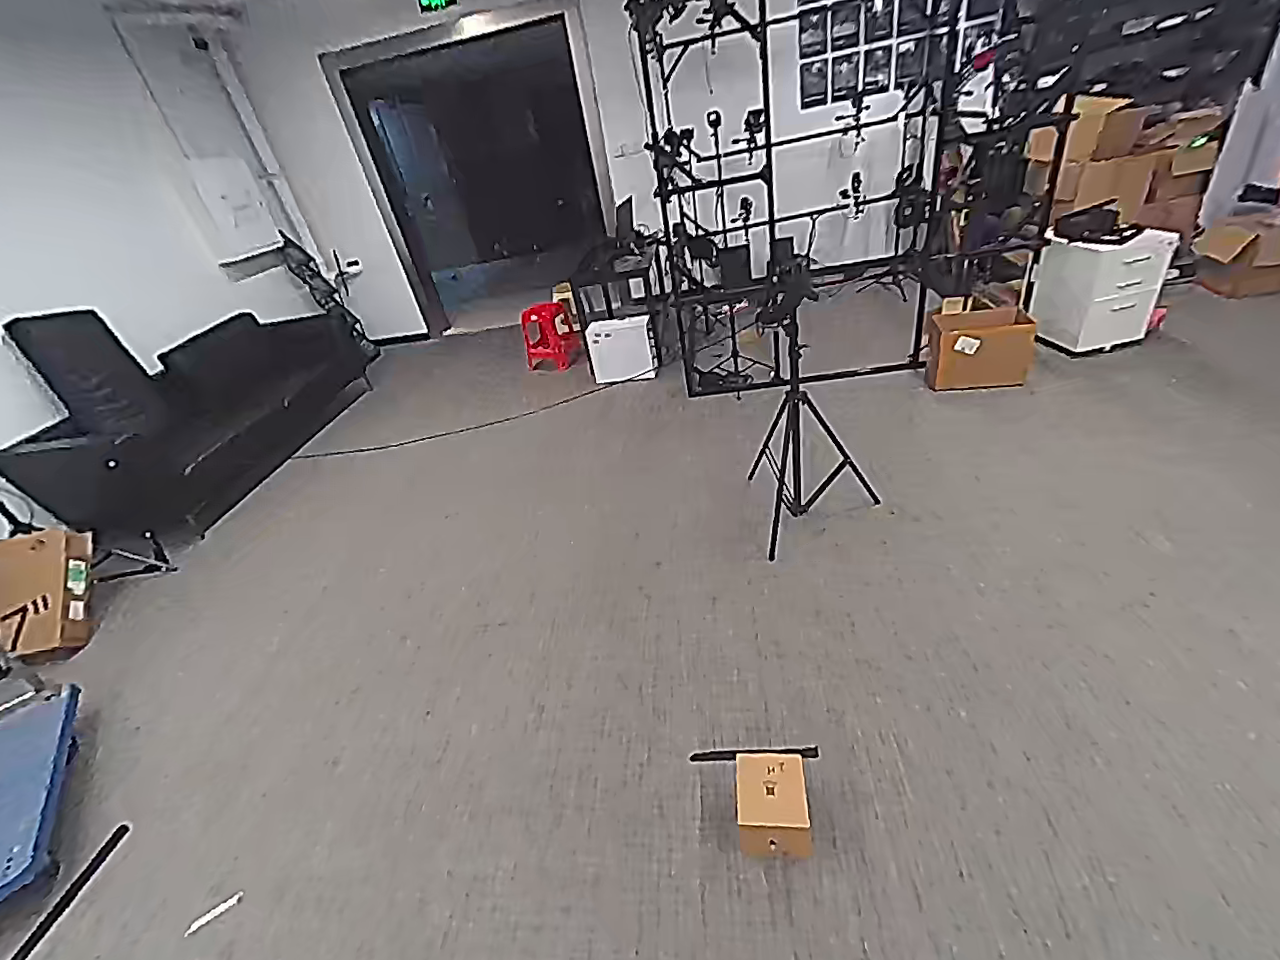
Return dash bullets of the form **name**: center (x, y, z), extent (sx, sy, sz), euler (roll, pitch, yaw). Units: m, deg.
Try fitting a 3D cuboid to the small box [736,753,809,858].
- **small box**: center (0.332, 0.819, 1.362), extent (0.168, 0.176, 0.179), euler (-4, 33, 12)
